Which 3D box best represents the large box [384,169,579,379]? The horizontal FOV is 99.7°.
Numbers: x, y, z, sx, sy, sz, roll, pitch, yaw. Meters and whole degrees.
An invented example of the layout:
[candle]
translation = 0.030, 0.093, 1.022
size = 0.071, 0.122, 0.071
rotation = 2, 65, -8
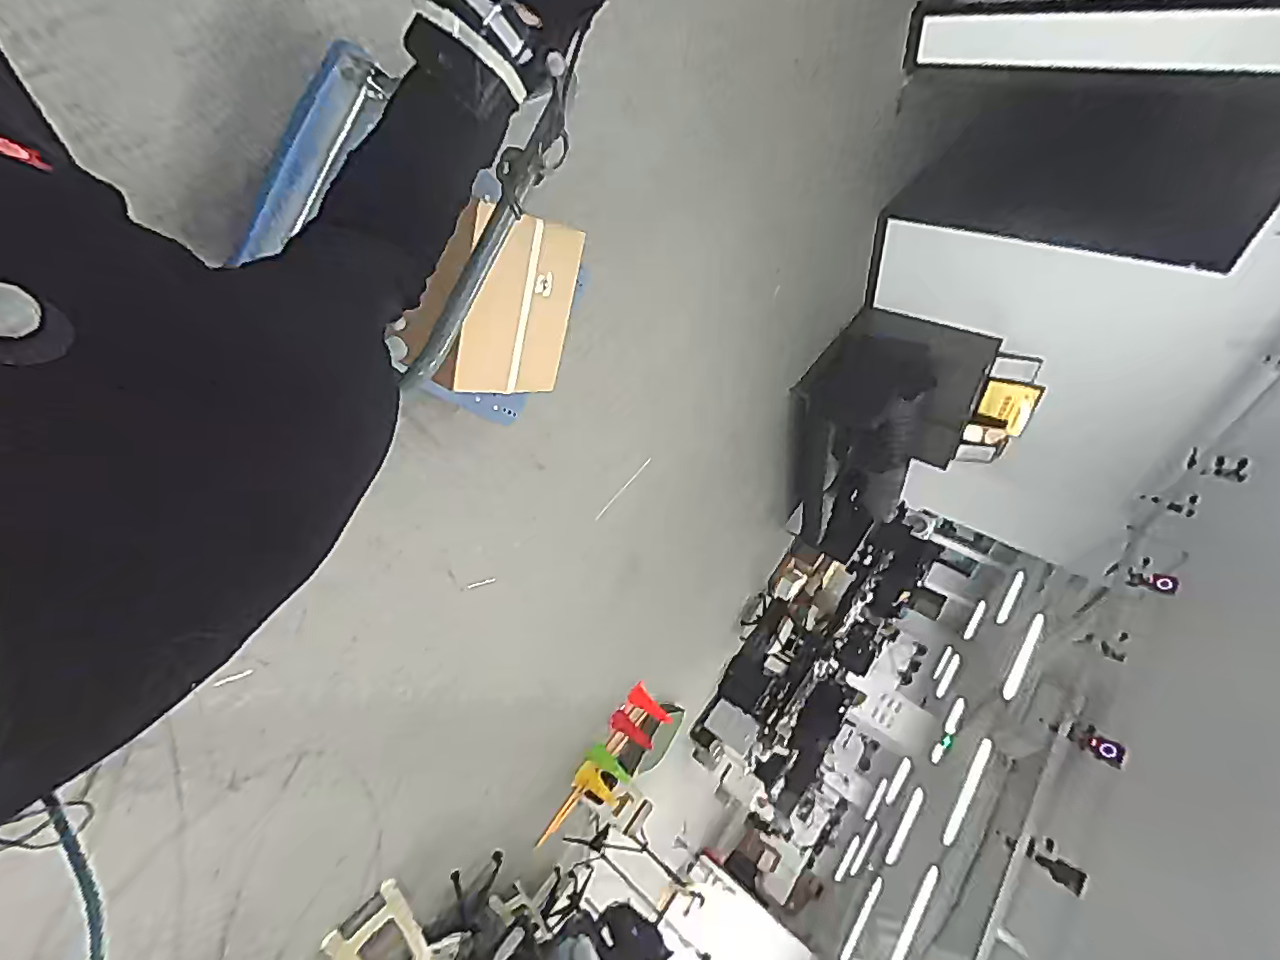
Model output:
[large box]
translation = -0.399, -0.488, 1.333
size = 0.320, 0.320, 0.408
rotation = -14, 125, -52
